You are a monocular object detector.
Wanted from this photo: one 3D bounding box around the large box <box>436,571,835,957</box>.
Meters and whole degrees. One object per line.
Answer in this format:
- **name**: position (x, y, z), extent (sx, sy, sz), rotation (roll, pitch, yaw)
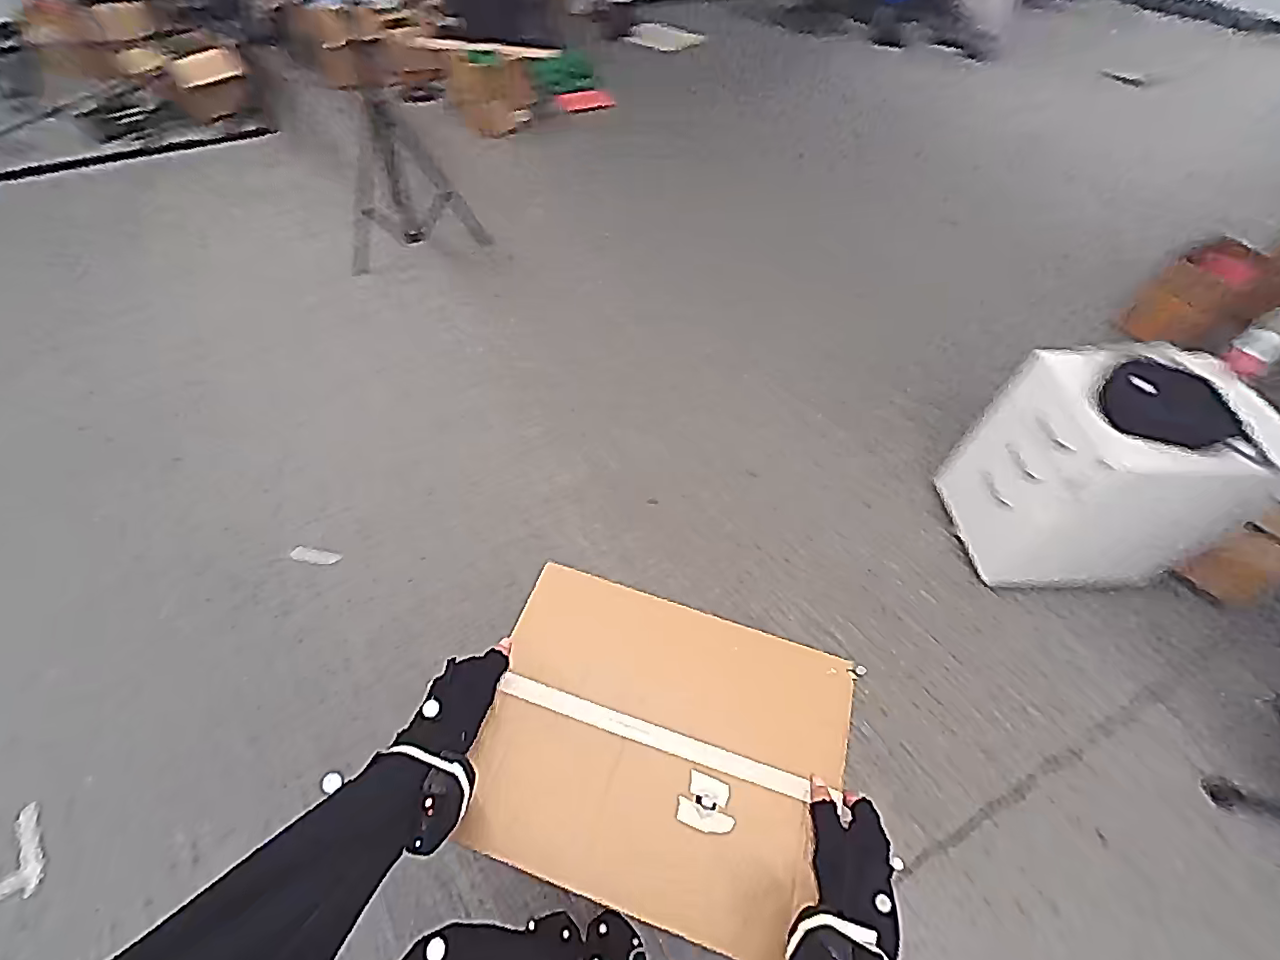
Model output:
- **large box**: position (0.005, 0.372, 0.744), extent (0.408, 0.320, 0.320), rotation (16, 57, 6)
